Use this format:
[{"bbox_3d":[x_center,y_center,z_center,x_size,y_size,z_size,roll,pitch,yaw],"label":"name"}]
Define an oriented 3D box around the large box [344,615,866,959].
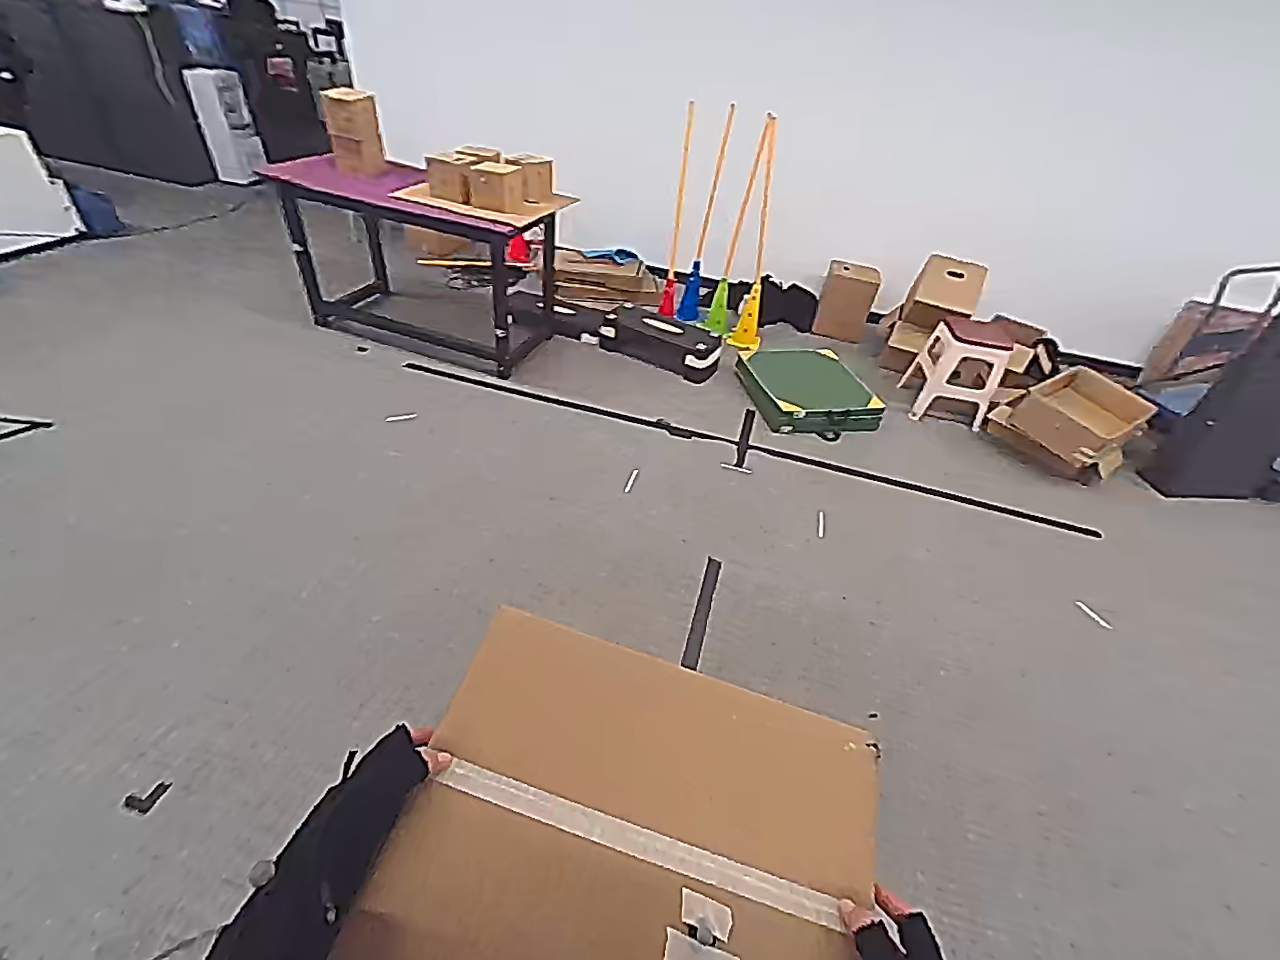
[{"bbox_3d":[-0.017,0.404,0.596,0.408,0.320,0.320,18,52,5],"label":"large box"}]
